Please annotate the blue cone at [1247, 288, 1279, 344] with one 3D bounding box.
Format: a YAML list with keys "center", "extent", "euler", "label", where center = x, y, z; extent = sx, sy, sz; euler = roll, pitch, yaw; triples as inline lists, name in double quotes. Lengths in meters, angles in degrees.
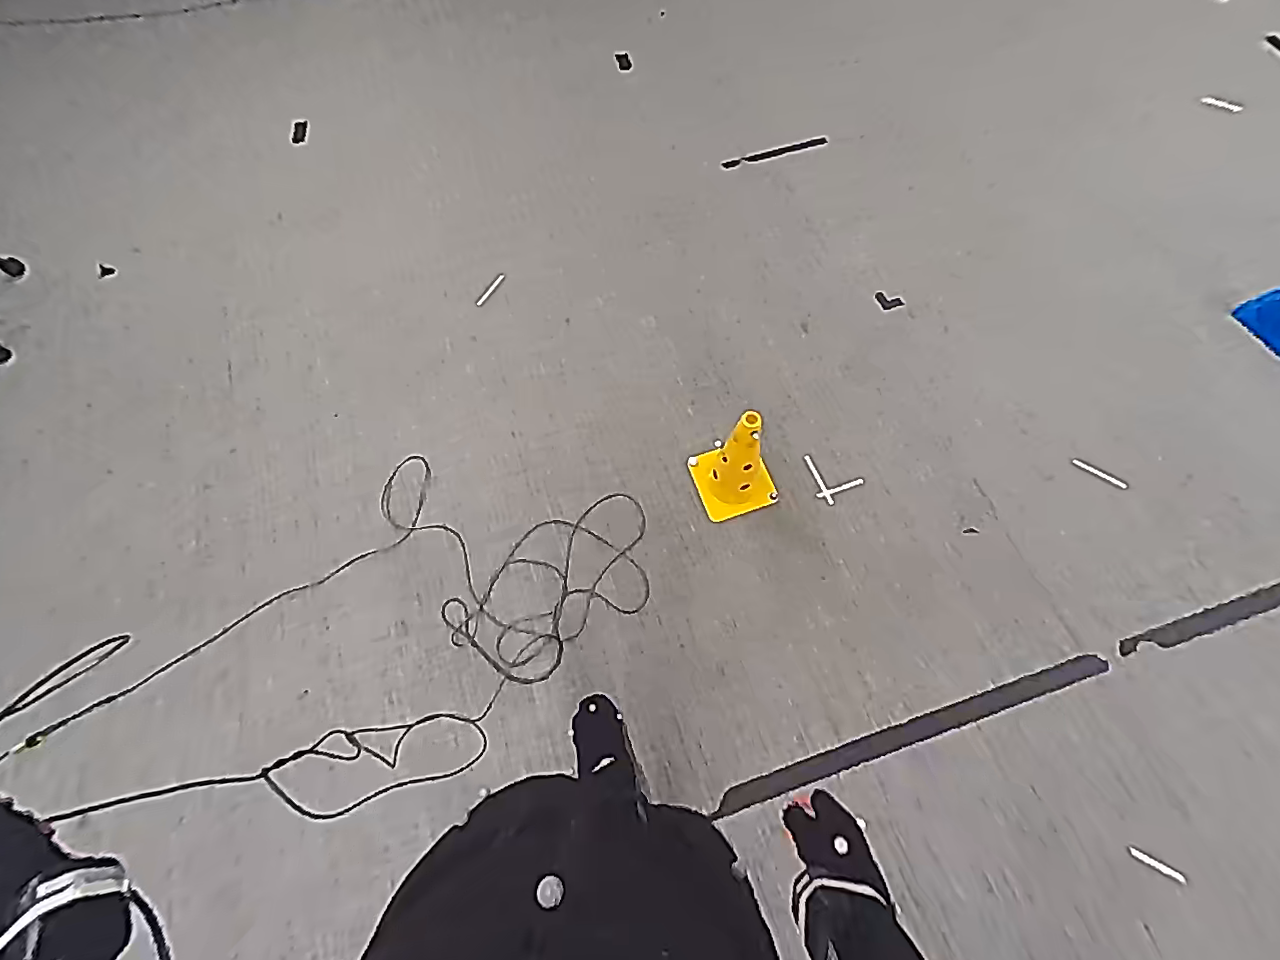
- center: [1.897, -0.534, 1.428]
  extent: [0.193, 0.380, 0.192]
  euler: [-23, 70, -7]
  label: "blue cone"
